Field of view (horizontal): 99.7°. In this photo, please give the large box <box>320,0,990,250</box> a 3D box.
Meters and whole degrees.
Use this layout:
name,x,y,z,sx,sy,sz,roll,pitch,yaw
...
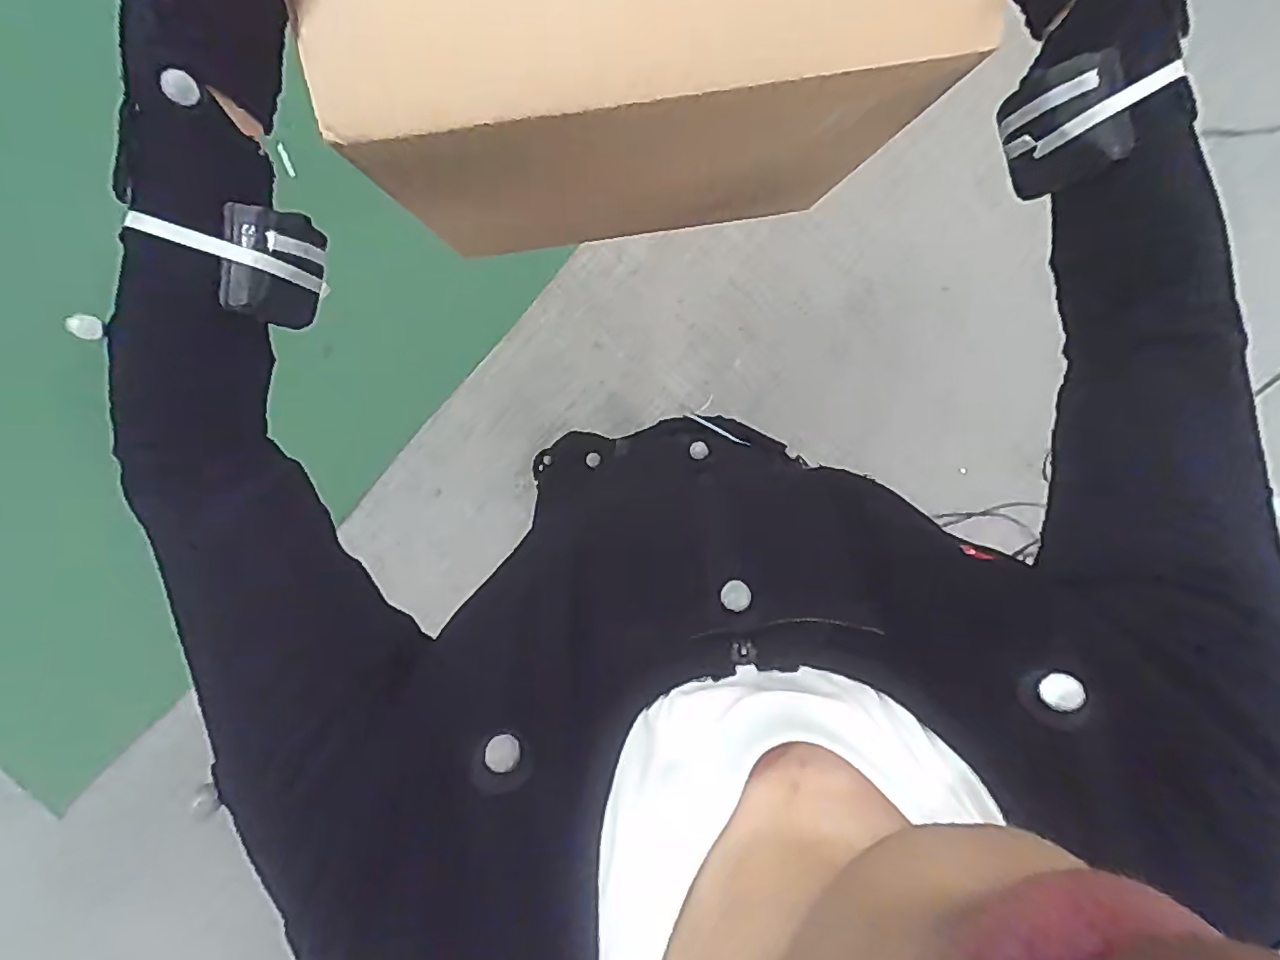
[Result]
name,x,y,z,sx,sy,sz,roll,pitch,yaw
large box,-0.013,-0.413,0.446,0.408,0.320,0.320,-9,101,-2
